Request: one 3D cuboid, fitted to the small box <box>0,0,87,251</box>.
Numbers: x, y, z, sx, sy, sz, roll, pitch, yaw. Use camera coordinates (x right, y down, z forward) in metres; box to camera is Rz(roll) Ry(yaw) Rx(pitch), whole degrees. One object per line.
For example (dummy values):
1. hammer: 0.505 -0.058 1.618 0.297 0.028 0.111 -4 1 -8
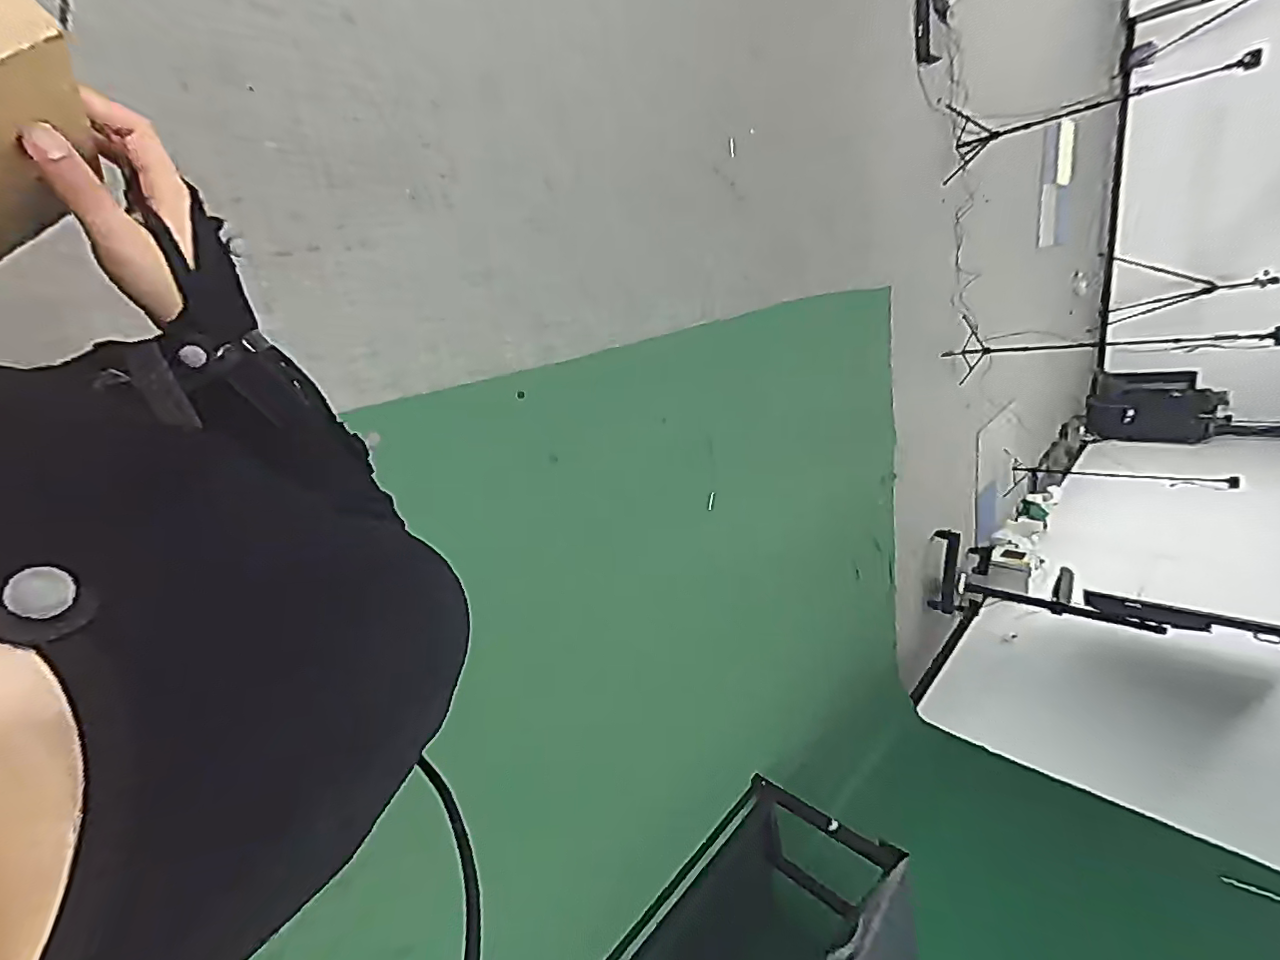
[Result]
1. small box: -0.386 -0.175 0.217 0.168 0.176 0.179 45 65 -31
